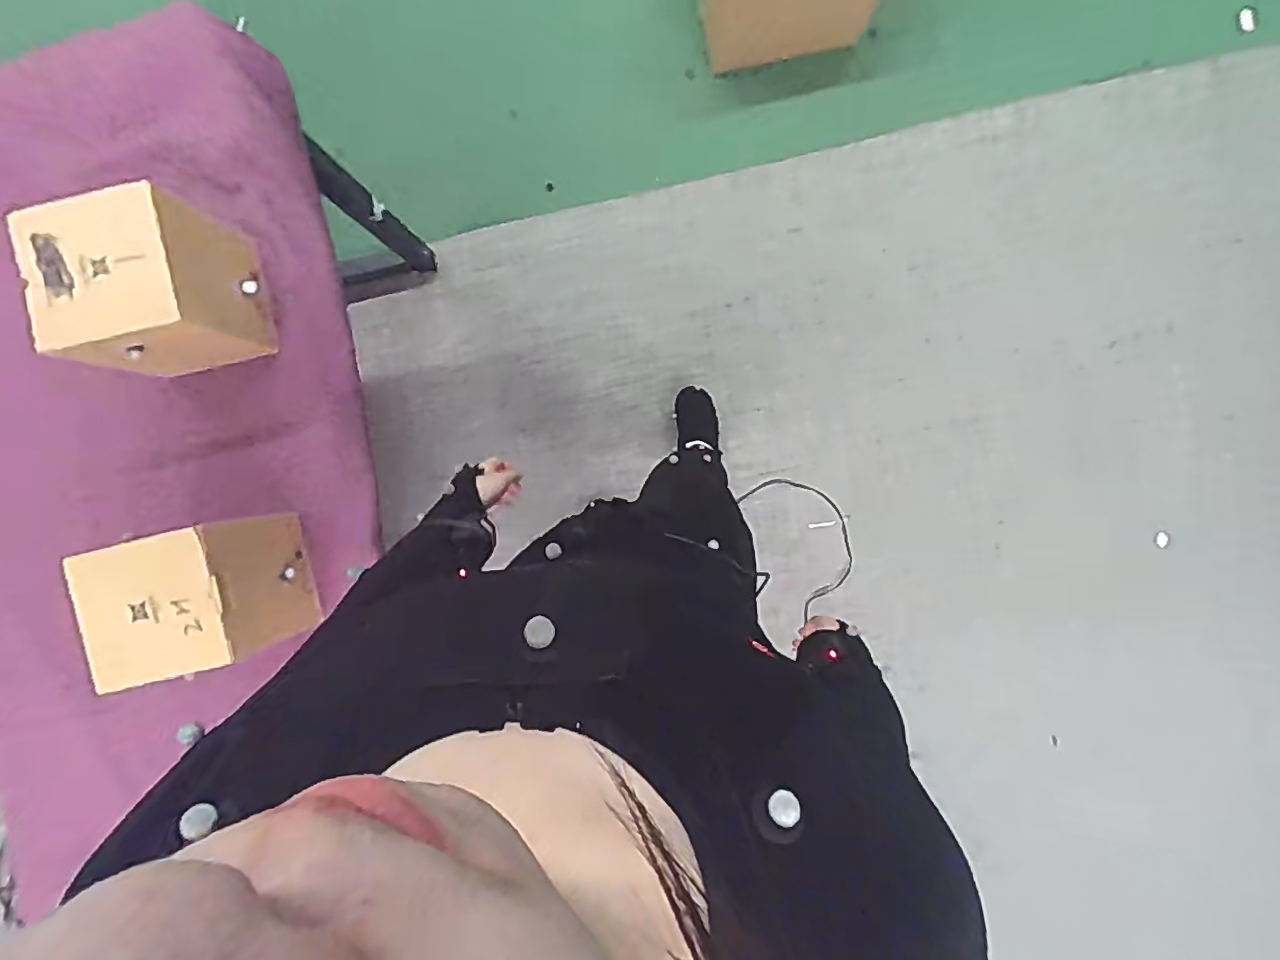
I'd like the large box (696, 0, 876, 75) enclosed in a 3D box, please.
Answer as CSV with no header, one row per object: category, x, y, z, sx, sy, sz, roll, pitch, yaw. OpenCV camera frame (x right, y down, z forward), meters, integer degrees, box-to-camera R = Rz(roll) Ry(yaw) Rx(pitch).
large box,0.351,-1.267,1.297,0.408,0.320,0.320,-11,92,1

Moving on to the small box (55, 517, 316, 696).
small box,-0.565,0.150,0.694,0.179,0.176,0.168,-14,92,3

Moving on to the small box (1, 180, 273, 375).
small box,-0.620,-0.241,0.689,0.179,0.176,0.168,-12,91,2
